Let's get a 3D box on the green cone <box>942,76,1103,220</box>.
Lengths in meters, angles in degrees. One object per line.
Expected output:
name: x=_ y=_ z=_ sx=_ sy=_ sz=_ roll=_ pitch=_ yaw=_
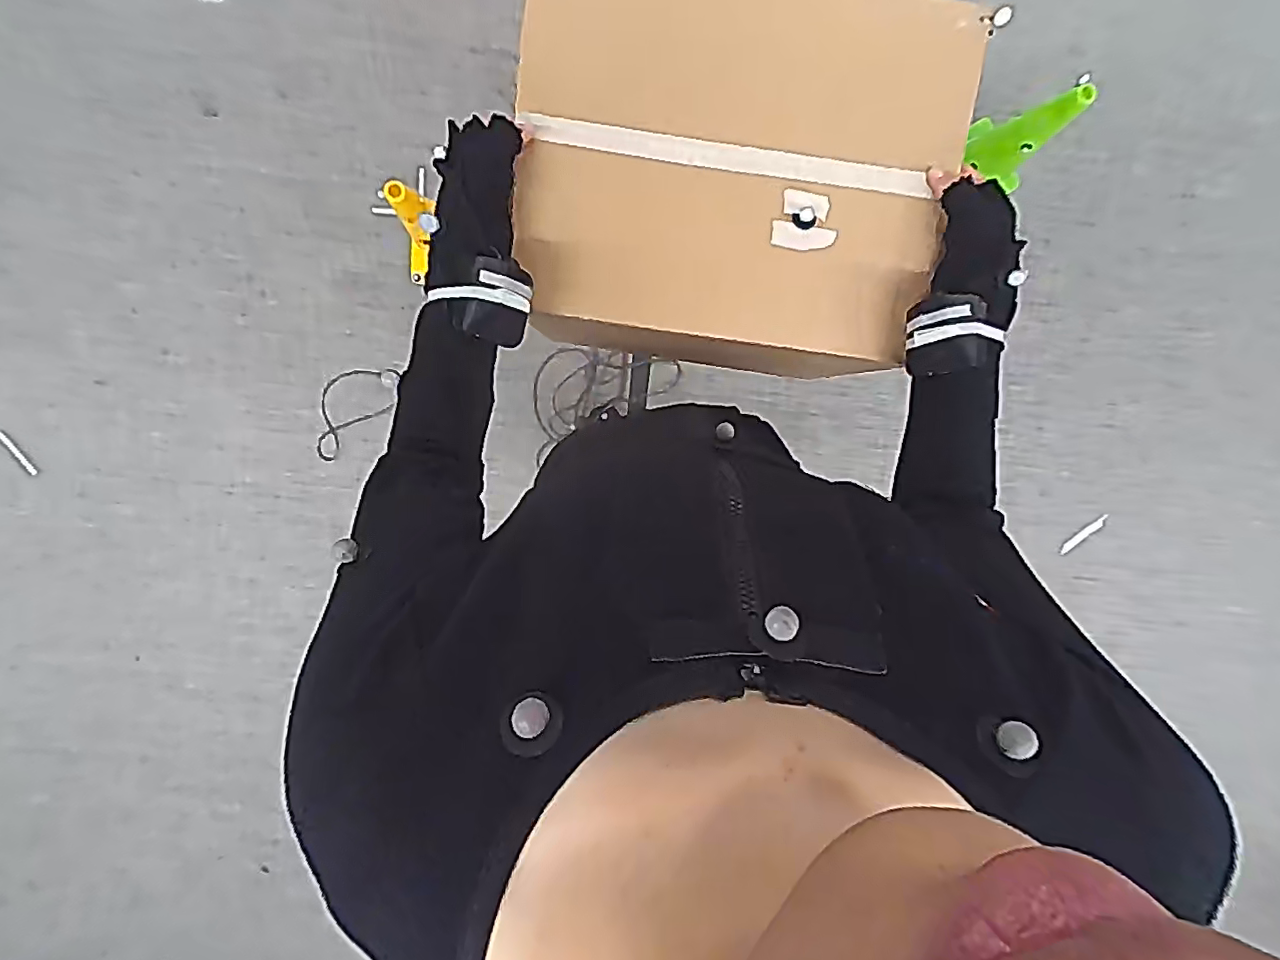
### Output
green cone: x=0.864 y=-0.780 z=1.225 sx=0.202 sy=0.368 sz=0.200 roll=-32 pitch=98 yaw=1

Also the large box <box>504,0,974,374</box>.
large box: x=0.080 y=-0.312 z=0.641 sx=0.408 sy=0.320 sz=0.320 roll=8 pitch=98 yaw=-3
